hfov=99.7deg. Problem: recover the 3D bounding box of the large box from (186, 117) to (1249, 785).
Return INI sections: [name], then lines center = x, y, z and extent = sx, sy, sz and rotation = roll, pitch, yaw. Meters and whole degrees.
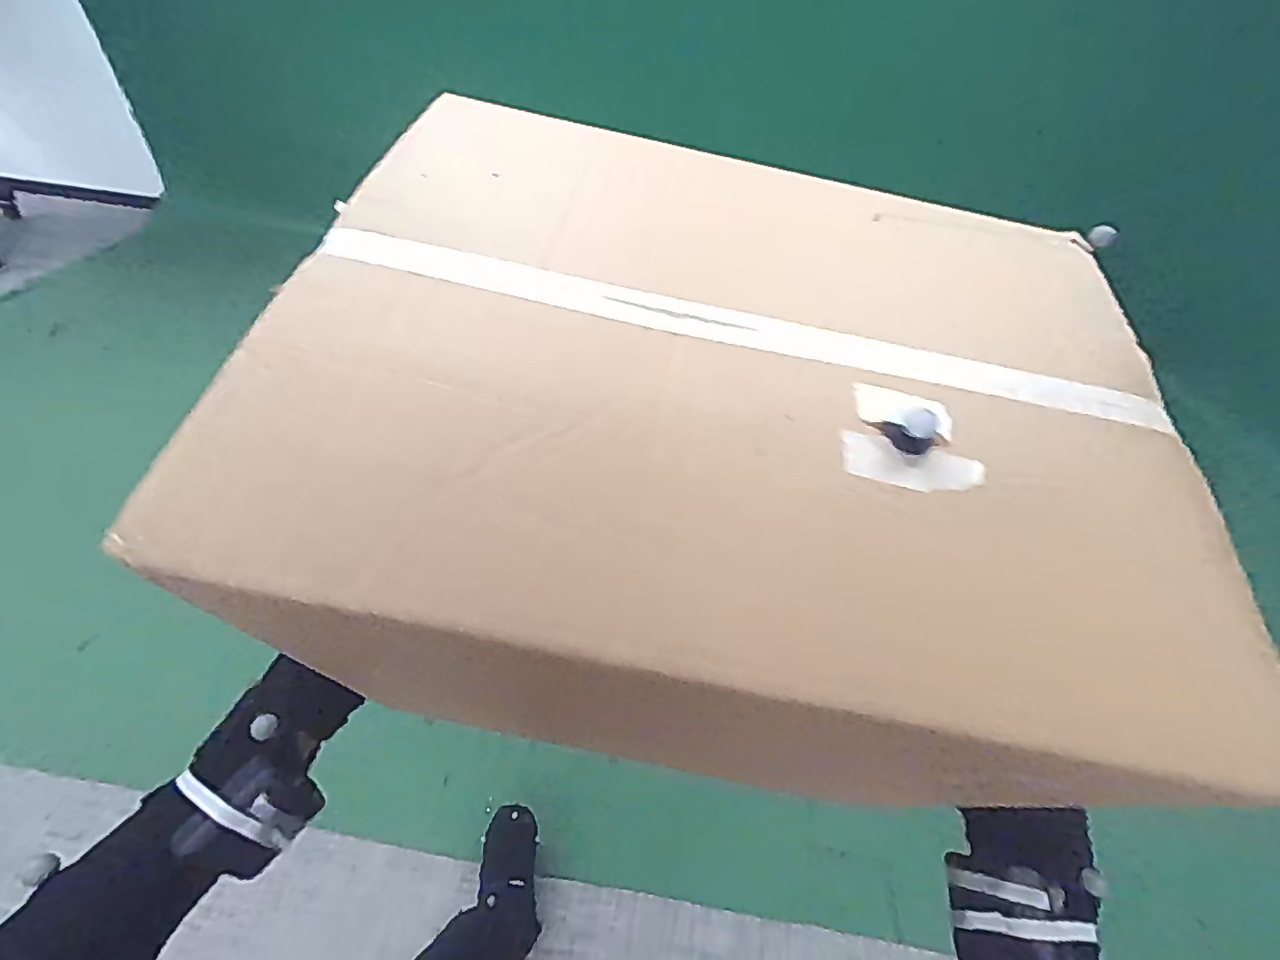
[large box]
center = 0.036, 0.010, 0.398
extent = 0.408, 0.320, 0.320
rotation = 13, 59, -1
